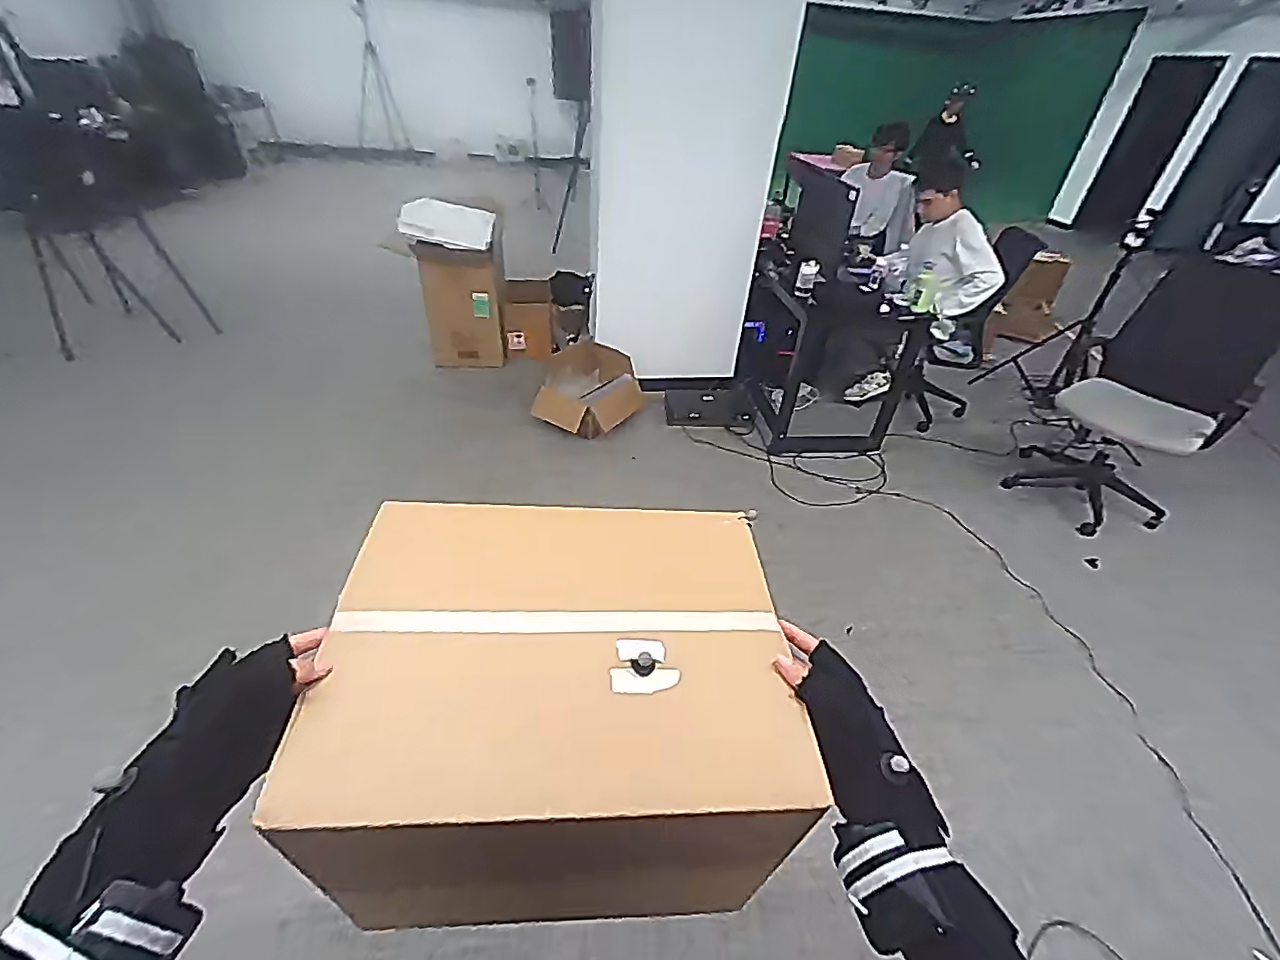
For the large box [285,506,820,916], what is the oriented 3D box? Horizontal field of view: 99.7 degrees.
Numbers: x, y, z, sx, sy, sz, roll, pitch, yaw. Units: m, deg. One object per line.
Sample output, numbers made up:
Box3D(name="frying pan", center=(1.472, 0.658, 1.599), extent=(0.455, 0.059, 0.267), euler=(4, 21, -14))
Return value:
Box3D(name="large box", center=(-0.082, 0.248, 0.605), extent=(0.408, 0.320, 0.320), euler=(3, 41, -7))
